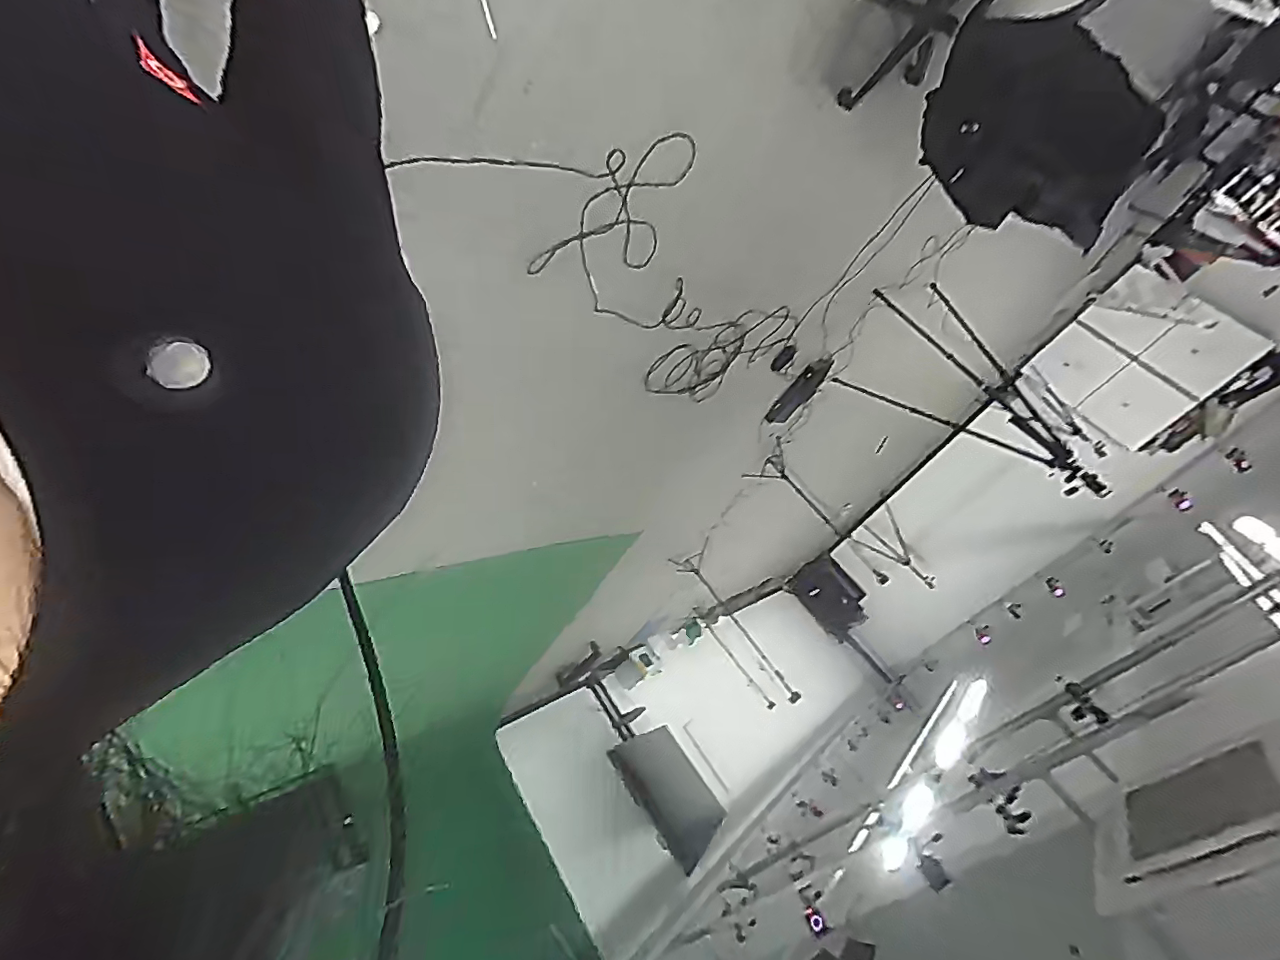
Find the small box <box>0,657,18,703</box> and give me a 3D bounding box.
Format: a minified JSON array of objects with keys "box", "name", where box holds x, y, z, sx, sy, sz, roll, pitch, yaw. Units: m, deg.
[{"box":[-1.974,0.648,1.602,0.168,0.176,0.179,-3,137,-50],"name":"small box"}]
